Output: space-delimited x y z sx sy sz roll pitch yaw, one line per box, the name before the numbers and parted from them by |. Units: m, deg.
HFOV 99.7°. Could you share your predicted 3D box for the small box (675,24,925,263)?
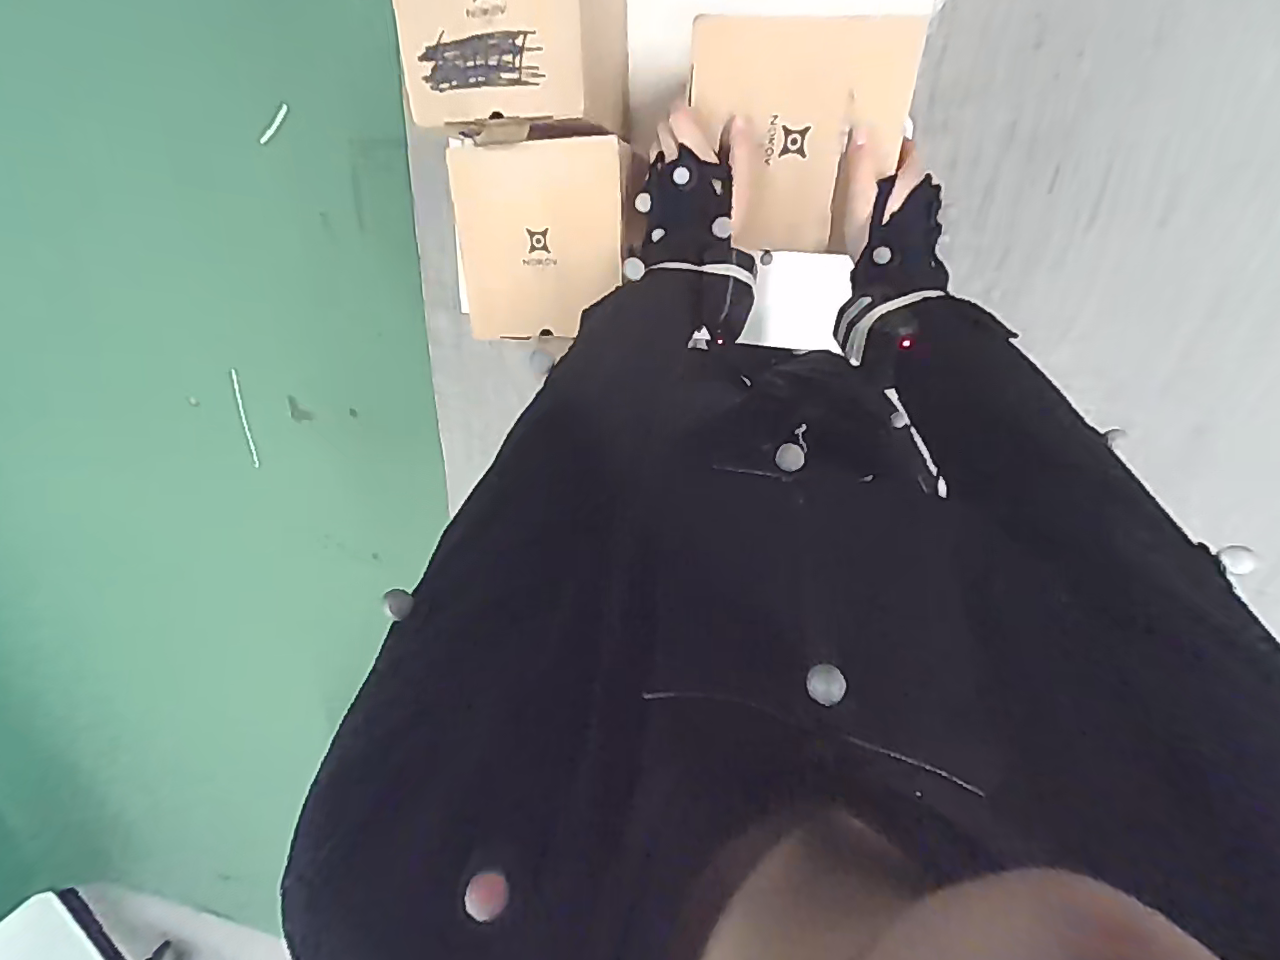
small box | 0.137 -0.304 0.514 0.179 0.176 0.168 8 117 10
